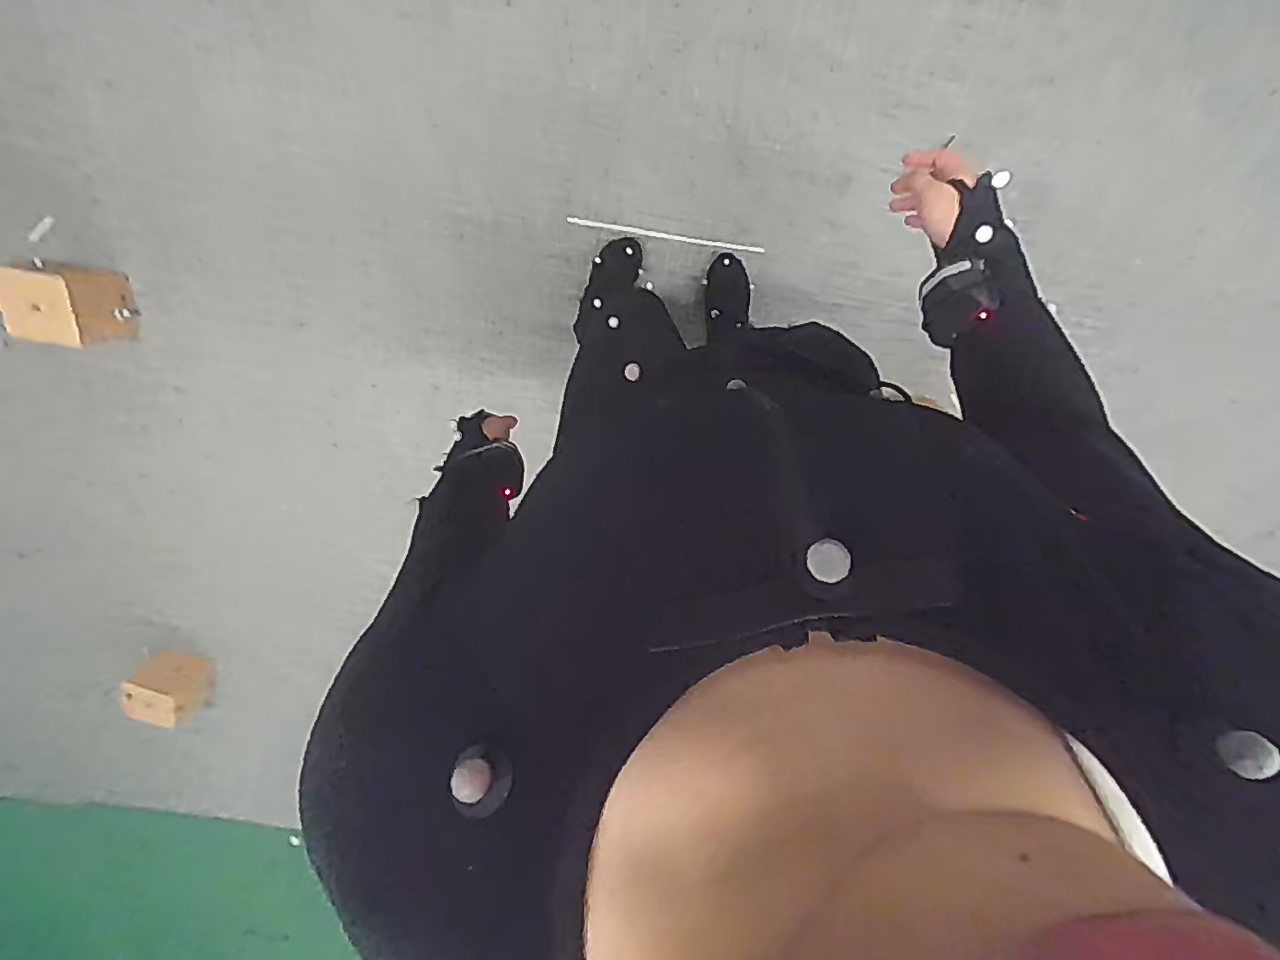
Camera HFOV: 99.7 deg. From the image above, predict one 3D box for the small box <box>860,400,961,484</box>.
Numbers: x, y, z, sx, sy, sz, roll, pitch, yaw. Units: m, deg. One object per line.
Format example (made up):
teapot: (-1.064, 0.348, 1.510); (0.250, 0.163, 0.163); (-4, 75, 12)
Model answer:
small box: (0.679, -0.103, 1.380); (0.168, 0.176, 0.179); (1, 114, 3)

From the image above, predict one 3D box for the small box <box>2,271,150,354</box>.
small box: (-1.406, -0.426, 1.361); (0.179, 0.176, 0.168); (8, 115, -2)

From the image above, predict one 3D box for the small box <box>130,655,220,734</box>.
small box: (-1.600, 0.737, 1.870); (0.179, 0.176, 0.168); (20, 113, -6)
